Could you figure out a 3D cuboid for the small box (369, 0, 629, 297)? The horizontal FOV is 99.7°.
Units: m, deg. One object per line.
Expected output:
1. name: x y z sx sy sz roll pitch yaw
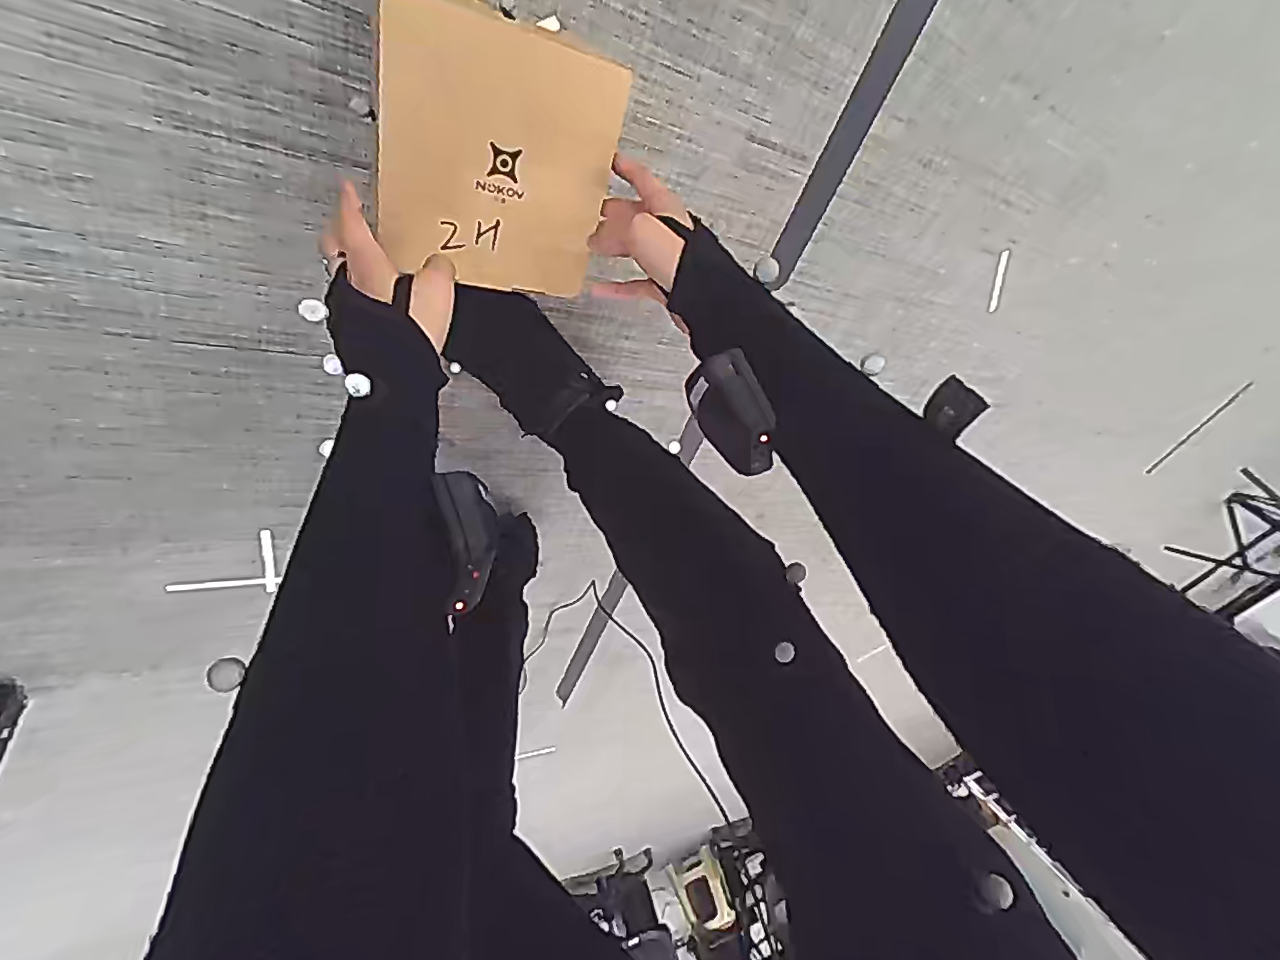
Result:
1. small box: -0.132 -0.281 0.450 0.168 0.176 0.179 -1 133 -27
